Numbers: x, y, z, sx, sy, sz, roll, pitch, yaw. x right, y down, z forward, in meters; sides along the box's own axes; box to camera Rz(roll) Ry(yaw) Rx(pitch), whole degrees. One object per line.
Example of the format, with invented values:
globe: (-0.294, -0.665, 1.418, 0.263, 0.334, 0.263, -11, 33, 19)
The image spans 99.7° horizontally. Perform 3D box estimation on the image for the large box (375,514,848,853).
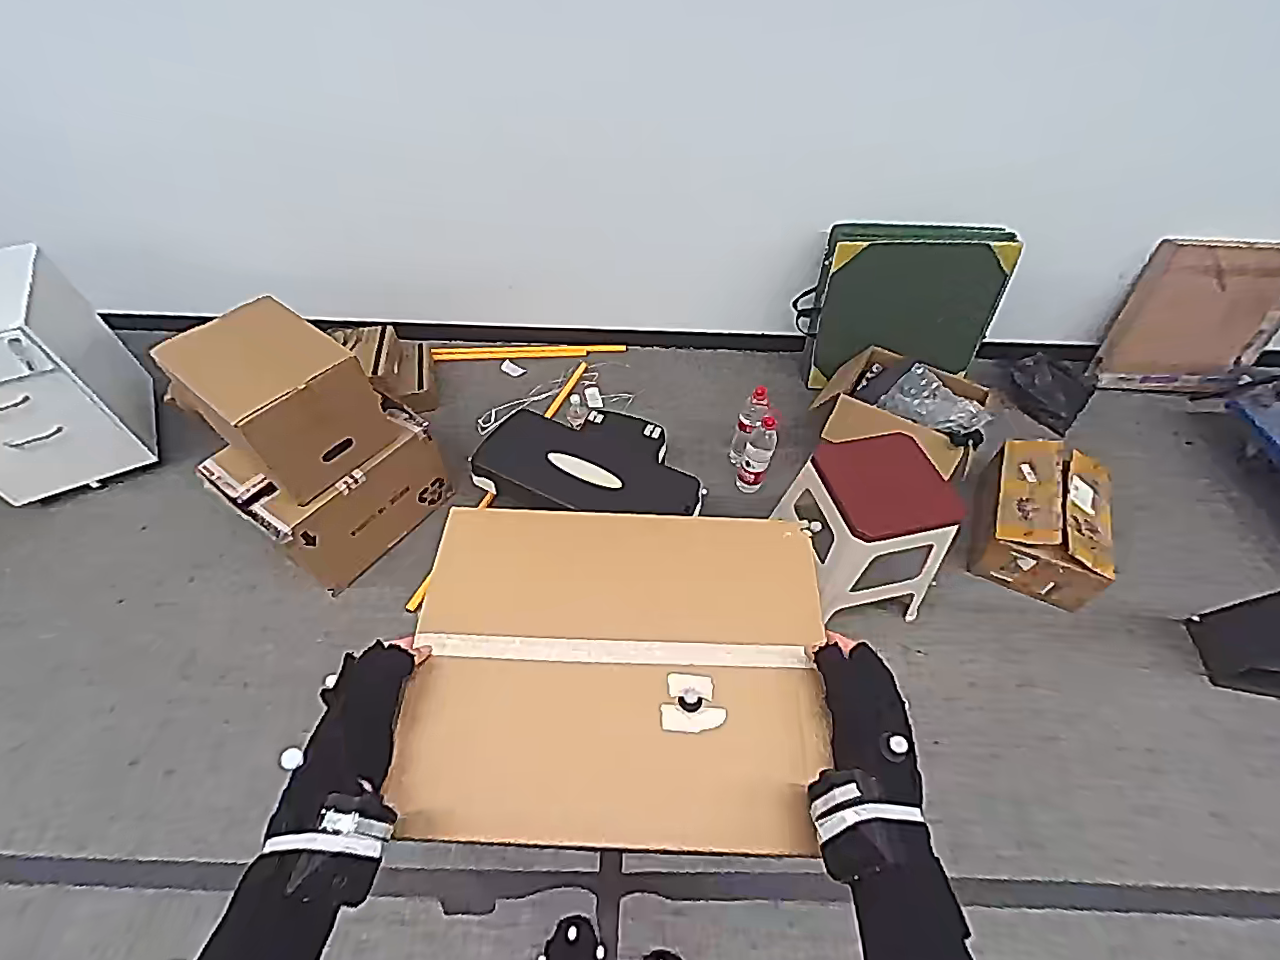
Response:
large box: (-0.024, 0.256, 0.653, 0.408, 0.320, 0.320, 3, 55, 0)
